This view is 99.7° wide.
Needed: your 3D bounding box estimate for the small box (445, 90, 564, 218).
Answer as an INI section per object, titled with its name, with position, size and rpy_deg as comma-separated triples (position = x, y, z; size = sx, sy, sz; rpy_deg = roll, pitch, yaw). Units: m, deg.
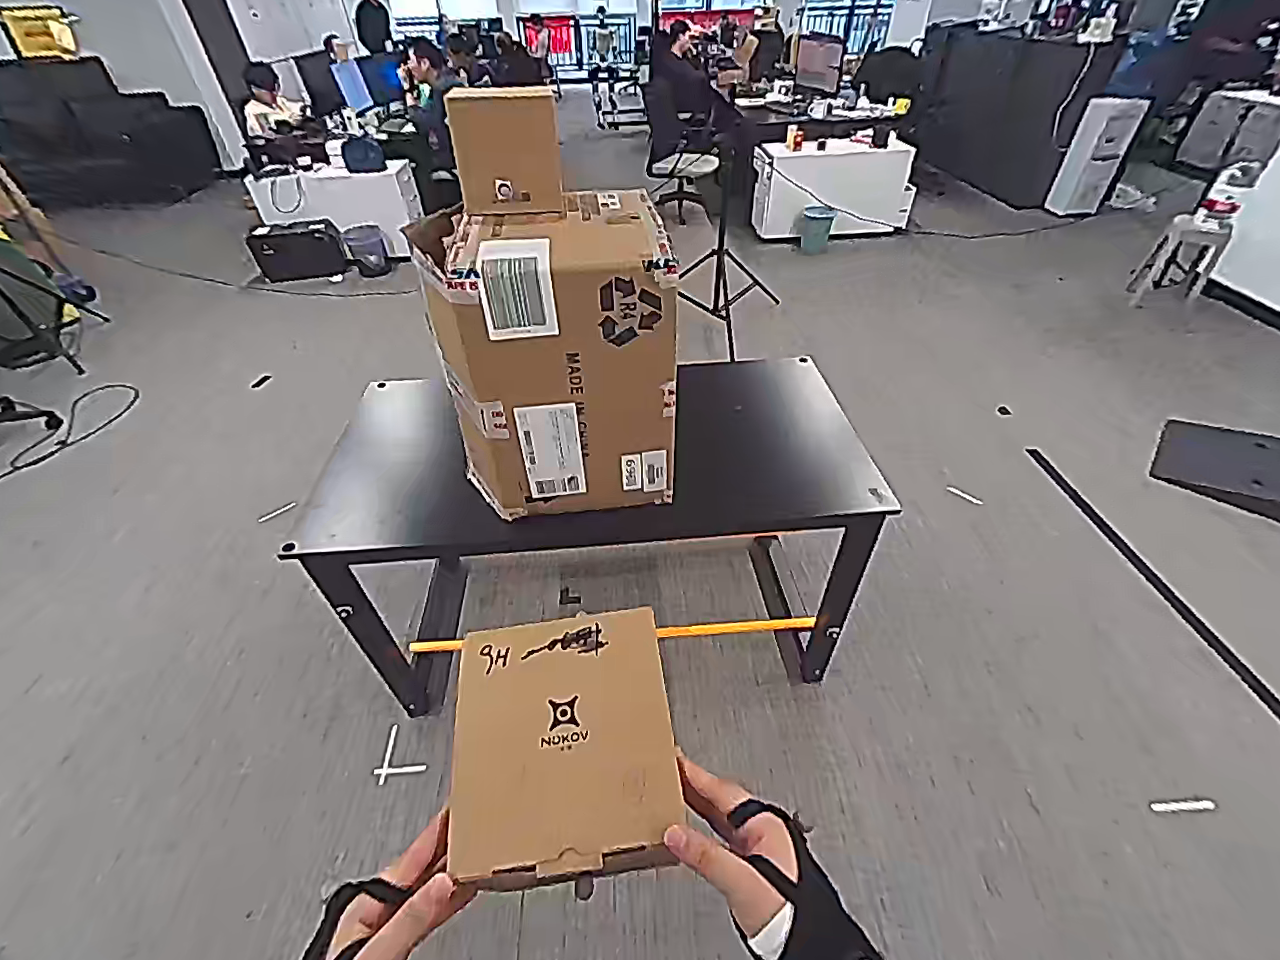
[small box]
position = -0.226, -0.563, 0.933
size = 0.168, 0.176, 0.179
rpy_deg = -8, 41, -7
